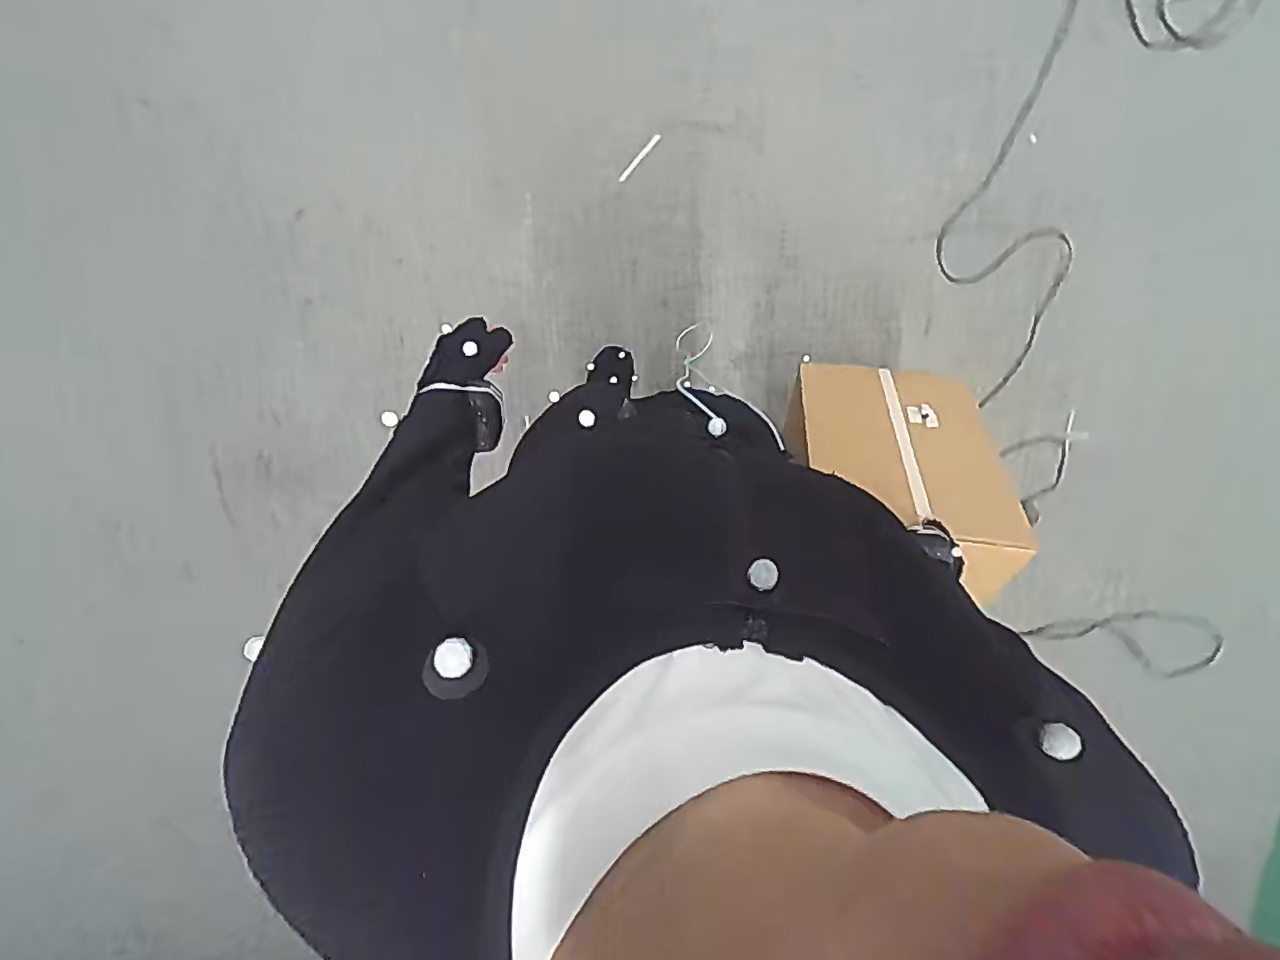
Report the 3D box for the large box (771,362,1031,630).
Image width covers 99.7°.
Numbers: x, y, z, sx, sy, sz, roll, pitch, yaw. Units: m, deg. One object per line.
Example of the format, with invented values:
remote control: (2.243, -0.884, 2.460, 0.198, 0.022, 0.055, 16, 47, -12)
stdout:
large box: (0.436, 0.026, 1.028, 0.320, 0.408, 0.320, 6, 138, 4)
